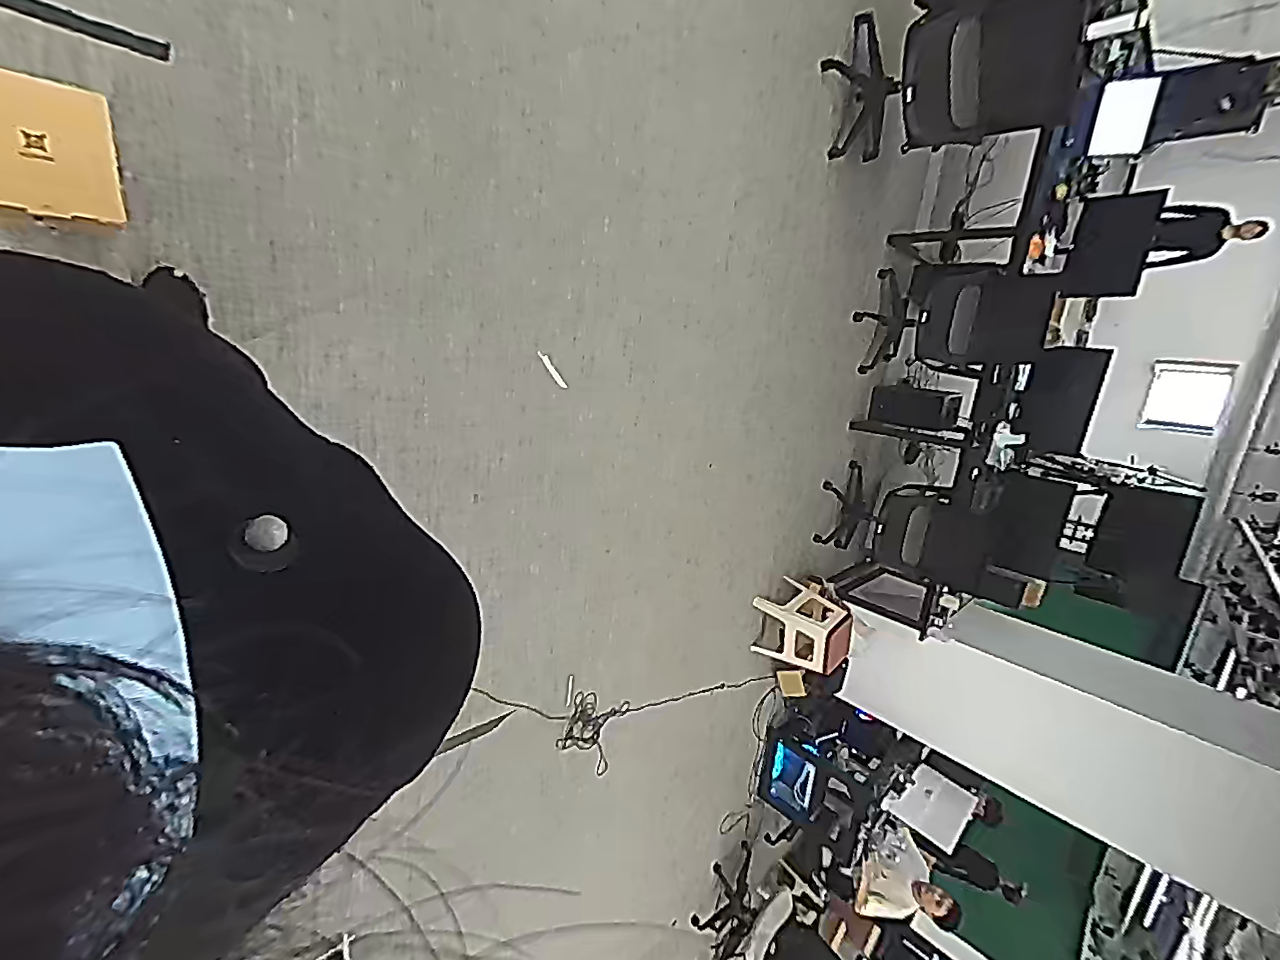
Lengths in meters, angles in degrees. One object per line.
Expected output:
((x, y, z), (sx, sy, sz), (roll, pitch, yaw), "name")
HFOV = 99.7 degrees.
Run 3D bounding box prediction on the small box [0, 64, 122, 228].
((-0.891, -0.482, 0.792), (0.168, 0.176, 0.179), (-10, 112, -44), "small box")
